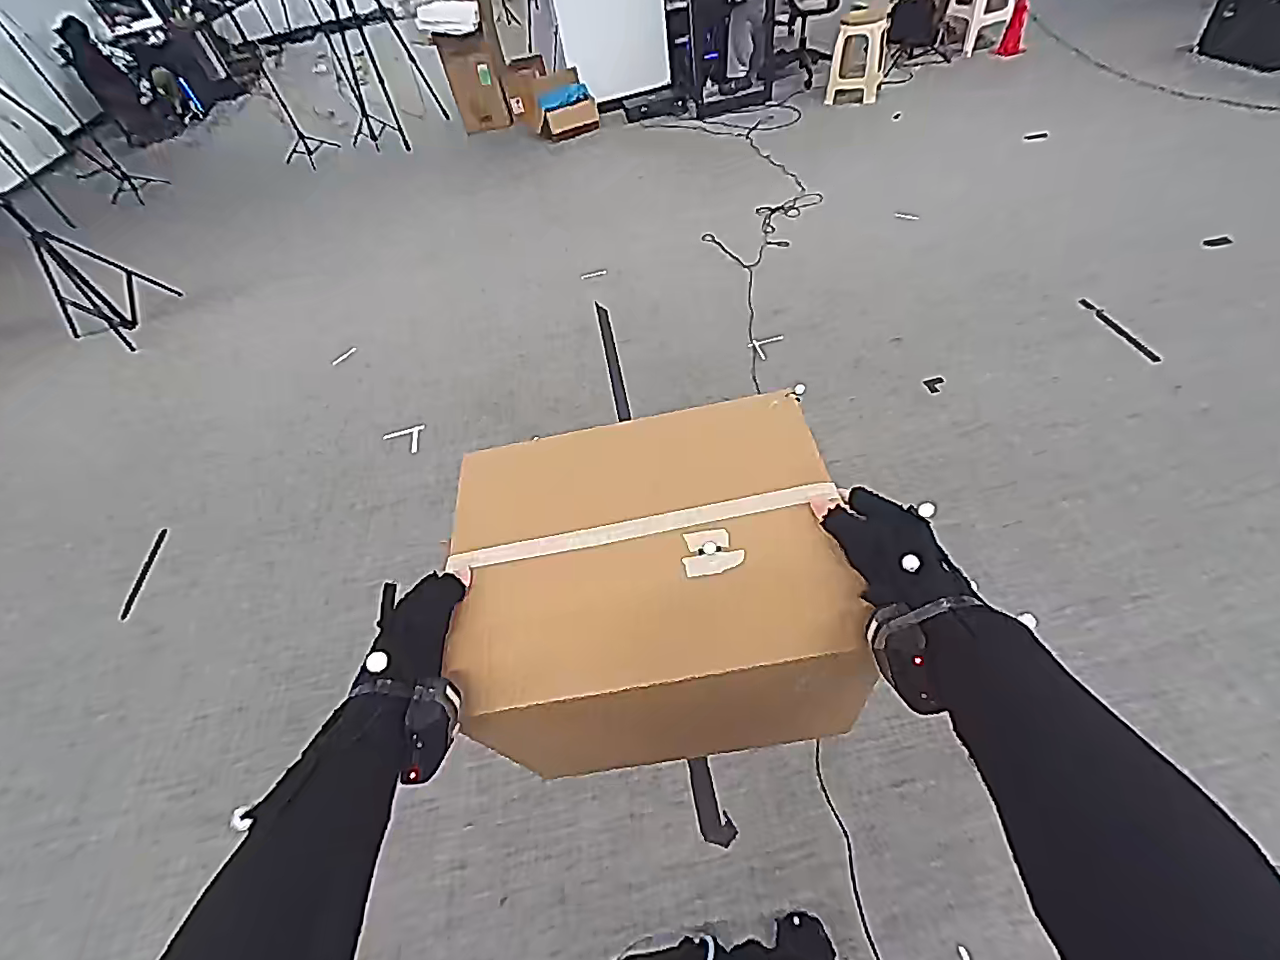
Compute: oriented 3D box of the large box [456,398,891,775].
[{"bbox_3d":[0.030,0.146,0.684,0.408,0.320,0.320,-11,52,3],"label":"large box"}]
